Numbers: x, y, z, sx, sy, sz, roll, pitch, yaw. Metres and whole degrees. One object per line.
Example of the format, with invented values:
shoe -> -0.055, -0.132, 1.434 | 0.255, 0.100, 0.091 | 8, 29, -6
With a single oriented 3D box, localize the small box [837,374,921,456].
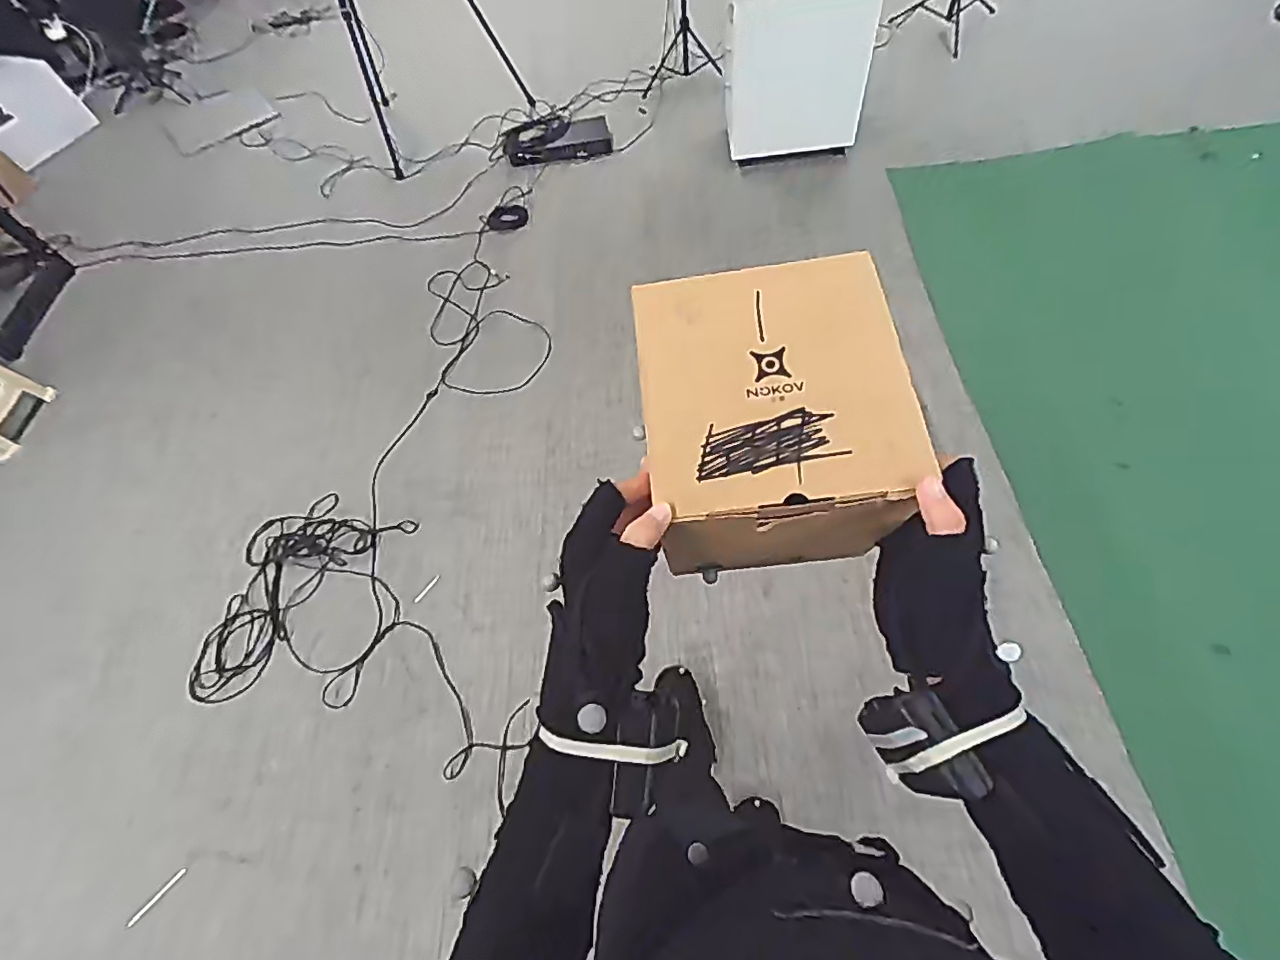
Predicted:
small box -> 0.684, -0.180, 1.565 | 0.168, 0.176, 0.179 | -5, 60, 5
